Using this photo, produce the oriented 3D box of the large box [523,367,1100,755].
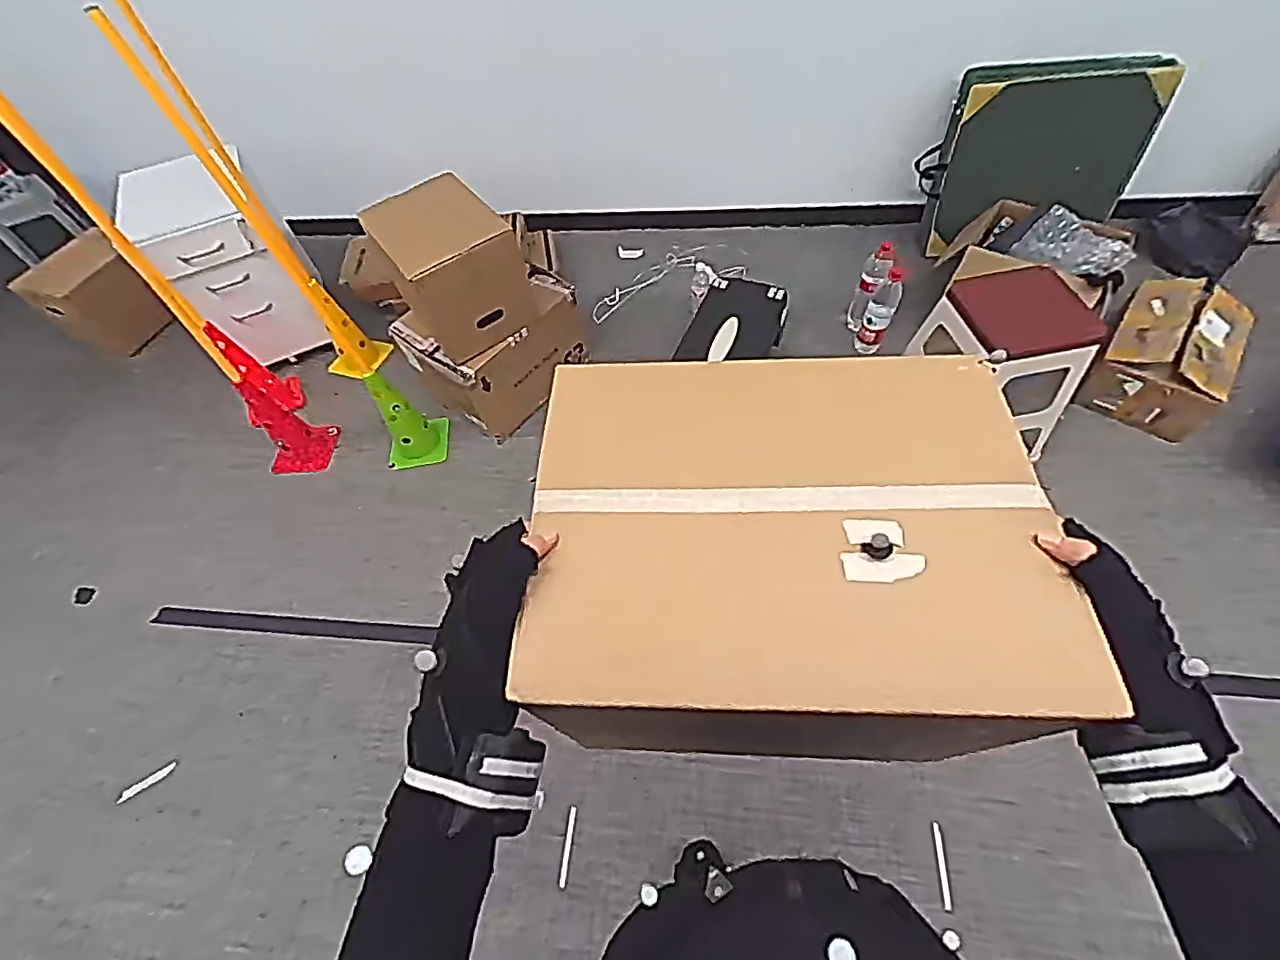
[{"bbox_3d":[0.124,0.104,0.577,0.408,0.320,0.320,-1,58,5],"label":"large box"}]
